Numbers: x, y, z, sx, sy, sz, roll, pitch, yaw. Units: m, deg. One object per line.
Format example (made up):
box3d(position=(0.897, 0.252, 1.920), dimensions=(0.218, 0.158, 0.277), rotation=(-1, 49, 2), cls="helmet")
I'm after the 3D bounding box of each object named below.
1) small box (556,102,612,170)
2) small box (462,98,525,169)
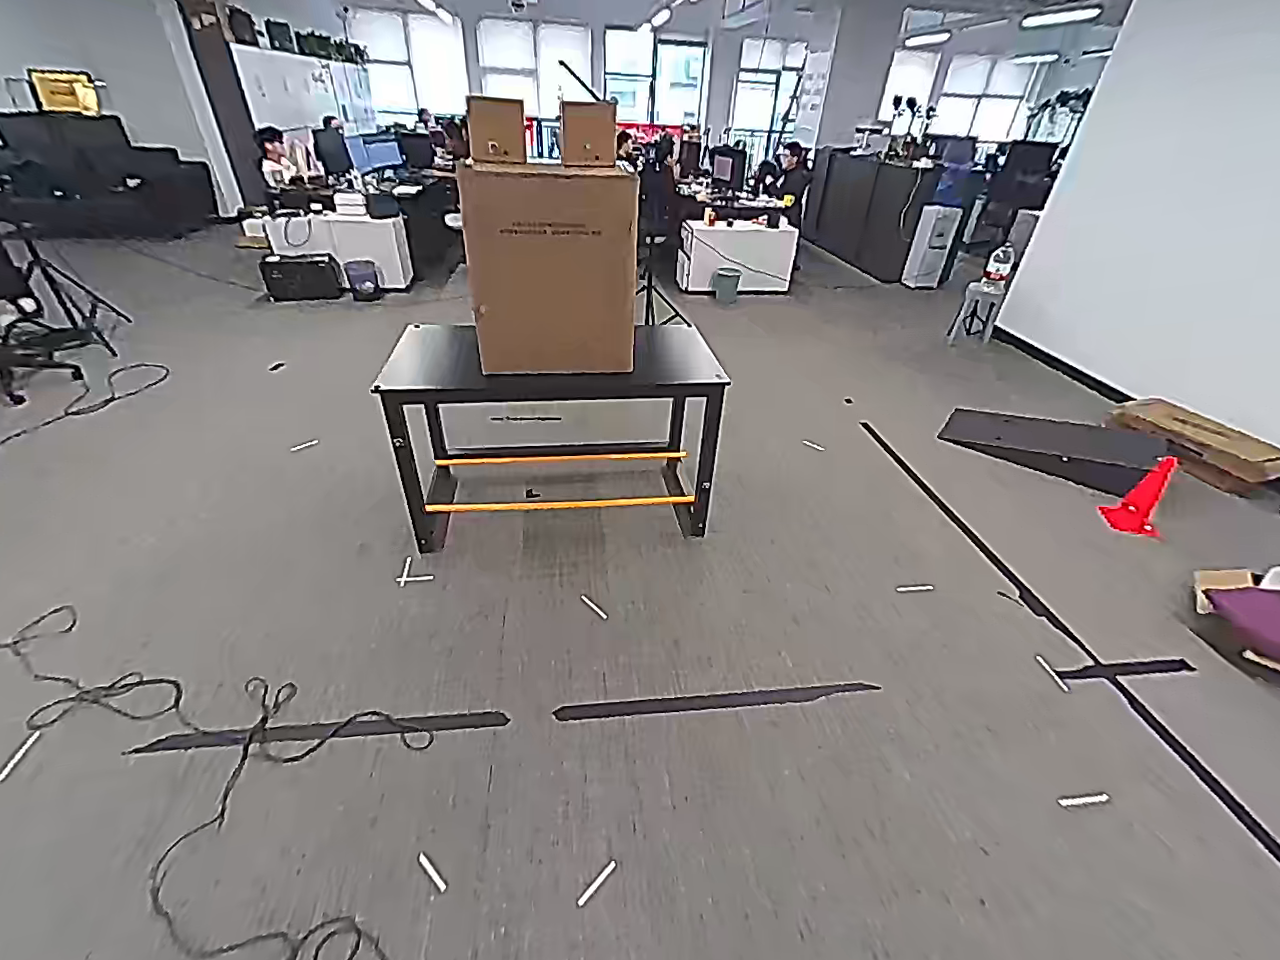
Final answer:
box3d(position=(-0.179, -1.087, 1.707), dimensions=(0.168, 0.176, 0.179), rotation=(-5, 35, -9), cls="small box")
box3d(position=(-0.450, -1.076, 1.679), dimensions=(0.168, 0.176, 0.179), rotation=(-4, 36, -9), cls="small box")
